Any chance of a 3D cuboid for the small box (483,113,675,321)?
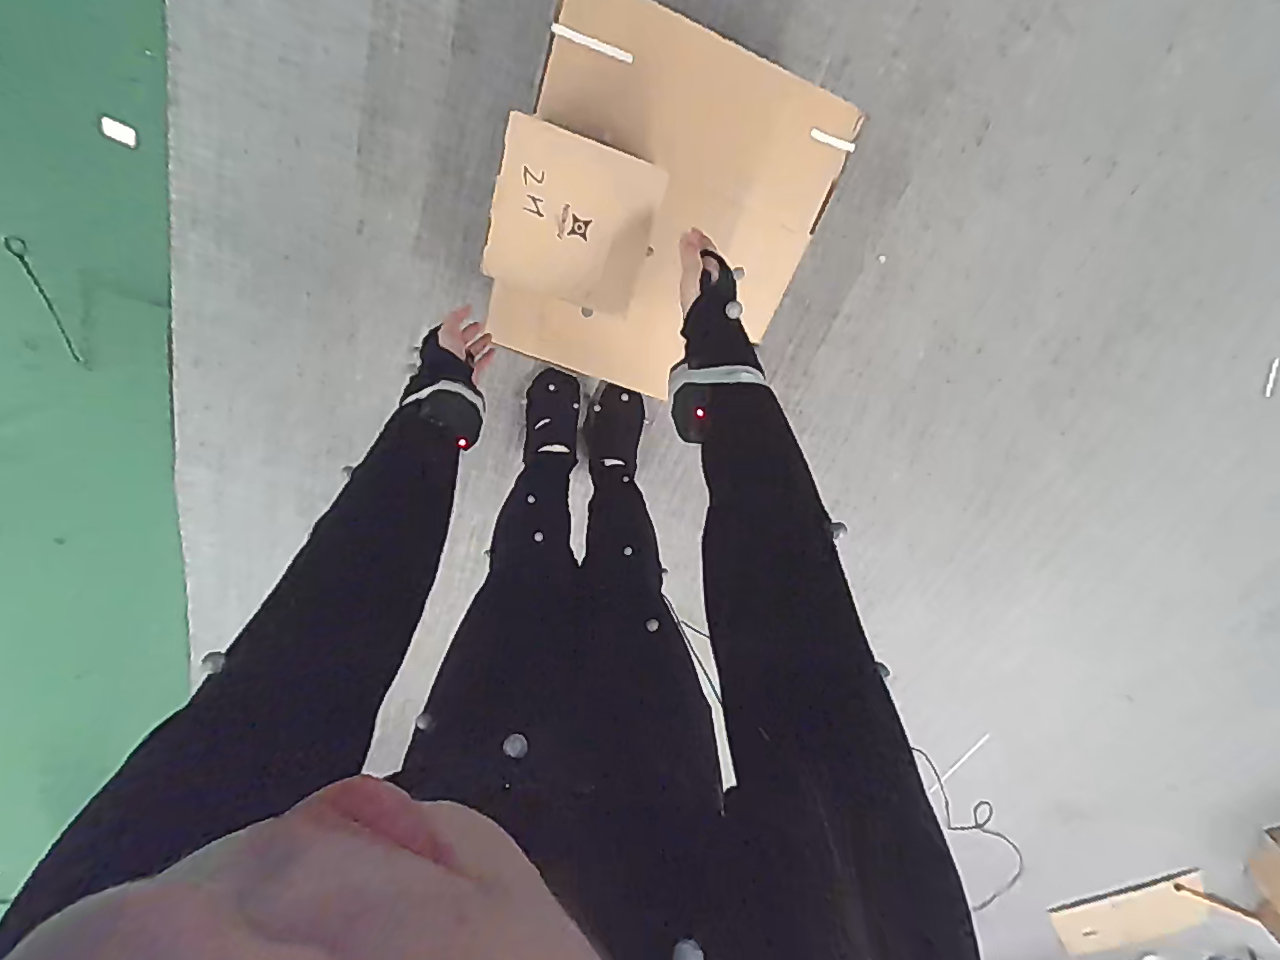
[{"bbox_3d":[-0.074,-0.318,0.663,0.179,0.176,0.168,16,116,-11],"label":"small box"}]
